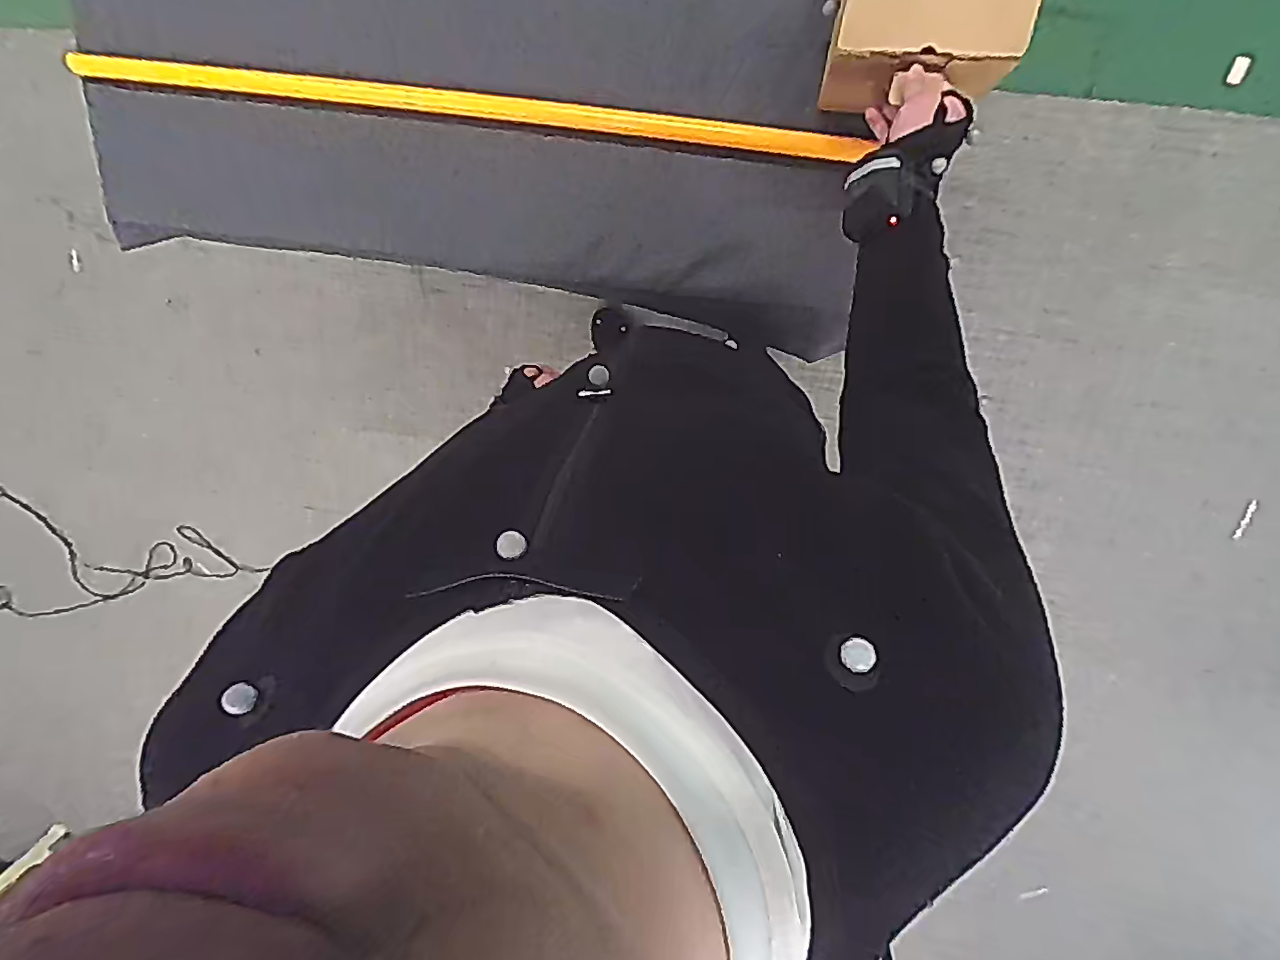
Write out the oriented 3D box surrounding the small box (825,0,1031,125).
[{"bbox_3d":[0.292,-0.490,0.559,0.168,0.176,0.179,9,108,12],"label":"small box"}]
